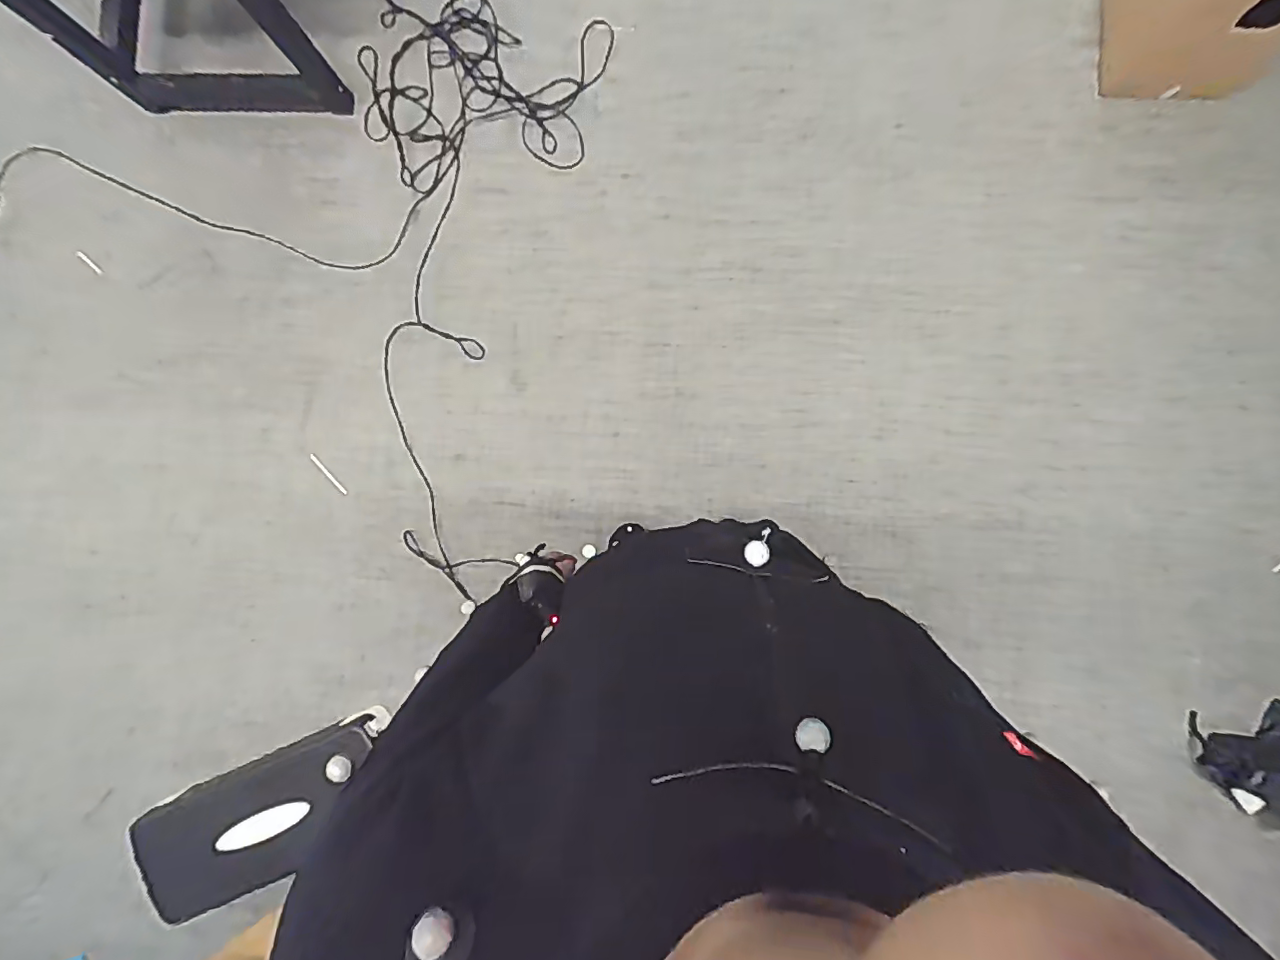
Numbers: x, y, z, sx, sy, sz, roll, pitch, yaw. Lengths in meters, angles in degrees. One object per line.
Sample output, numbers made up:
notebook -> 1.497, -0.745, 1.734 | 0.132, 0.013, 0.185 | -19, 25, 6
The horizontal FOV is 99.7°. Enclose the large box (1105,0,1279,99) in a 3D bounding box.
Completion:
large box -> 1.318, -1.157, 1.210 | 0.320, 0.320, 0.408 | 2, 90, 3
